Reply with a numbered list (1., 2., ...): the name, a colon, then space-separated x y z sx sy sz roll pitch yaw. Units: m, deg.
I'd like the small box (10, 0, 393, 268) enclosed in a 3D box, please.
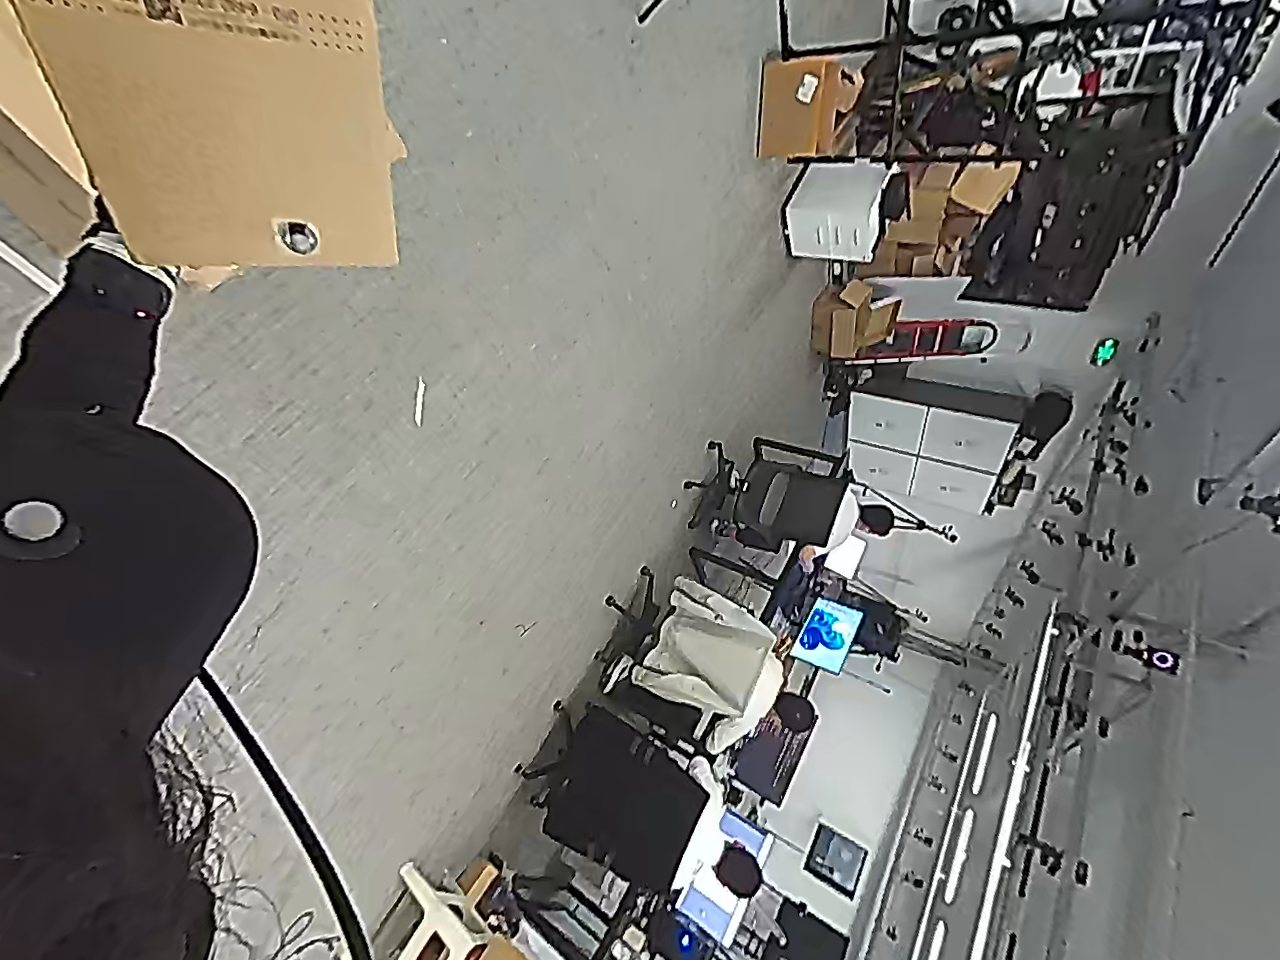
1. small box: -0.277 -0.271 0.374 0.168 0.179 0.176 -10 143 -26
